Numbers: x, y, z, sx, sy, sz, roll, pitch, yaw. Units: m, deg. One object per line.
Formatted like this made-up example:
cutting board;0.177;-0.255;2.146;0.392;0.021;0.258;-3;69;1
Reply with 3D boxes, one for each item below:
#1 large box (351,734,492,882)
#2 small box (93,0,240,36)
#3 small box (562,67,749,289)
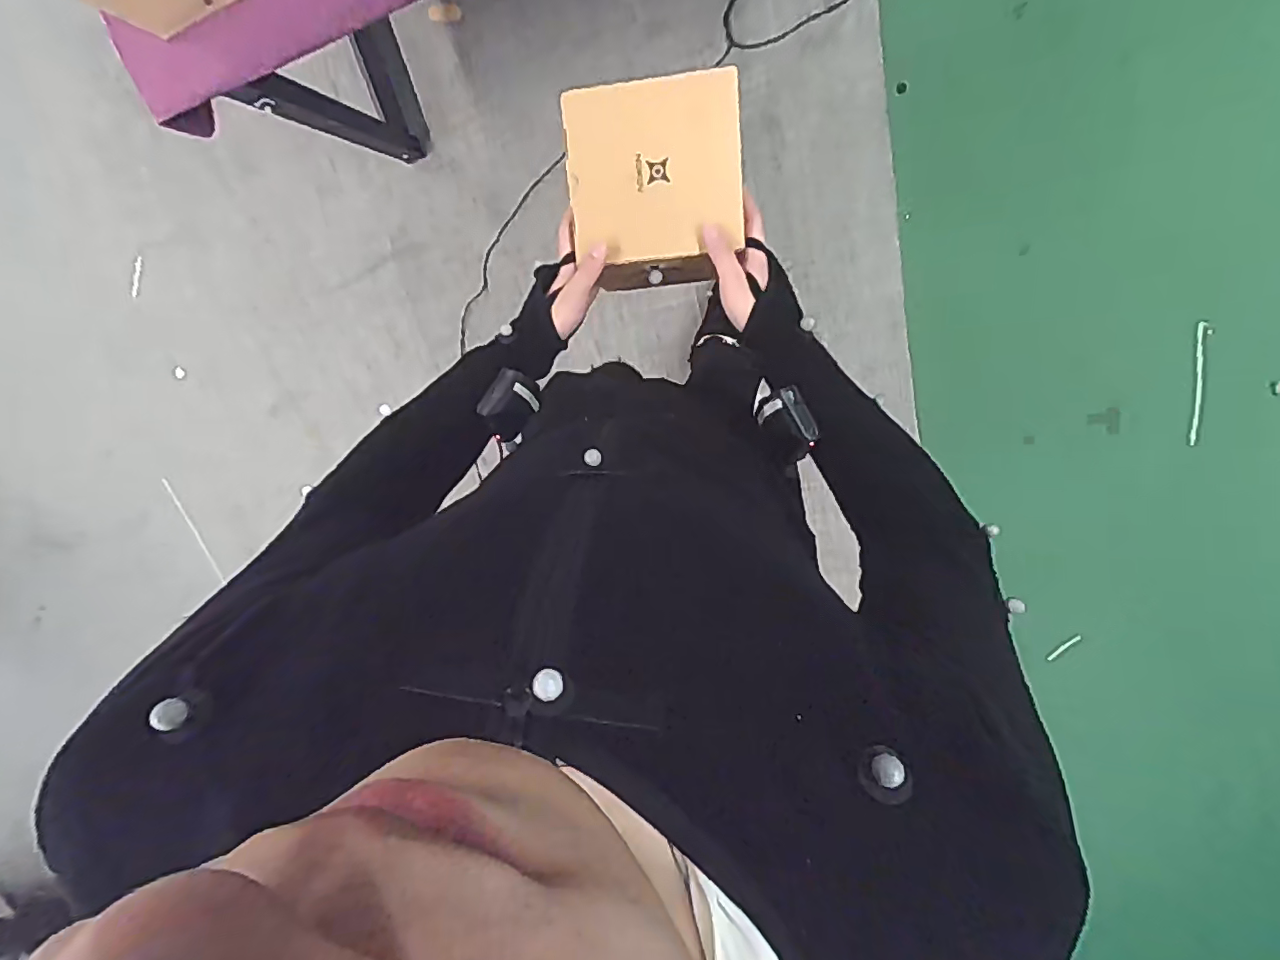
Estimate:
large box;-0.854;1.282;2.134;0.408;0.320;0.320;18;113;1
small box;-0.631;-0.688;0.641;0.168;0.176;0.179;-13;106;13
small box;0.025;-0.318;0.607;0.179;0.176;0.168;-4;101;9
